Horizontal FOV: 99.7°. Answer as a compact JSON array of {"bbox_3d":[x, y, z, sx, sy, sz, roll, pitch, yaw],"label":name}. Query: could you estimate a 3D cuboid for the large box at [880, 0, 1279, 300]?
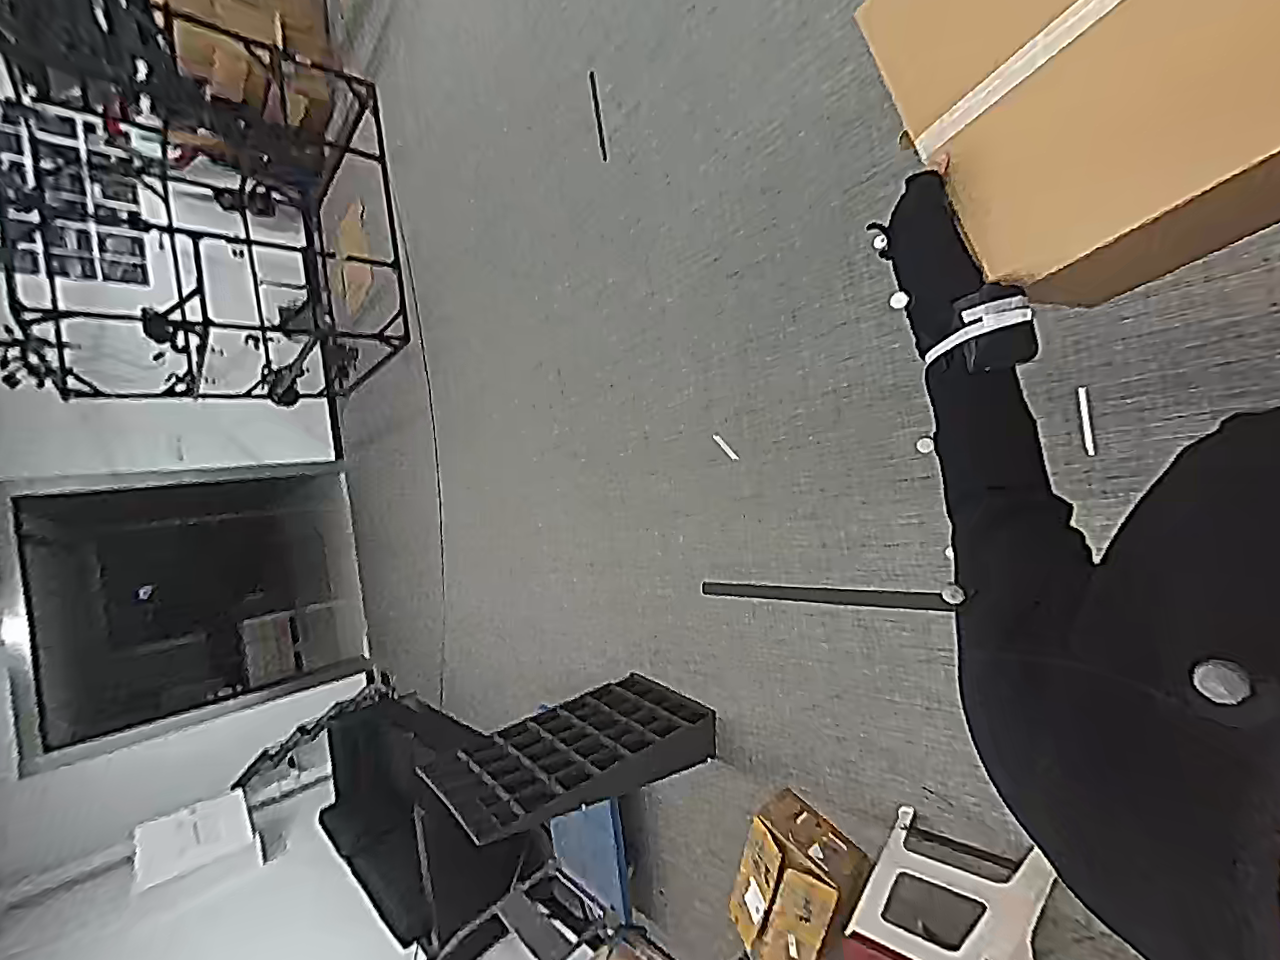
[{"bbox_3d":[0.495,-0.394,0.431,0.408,0.320,0.320,-29,78,50],"label":"large box"}]
